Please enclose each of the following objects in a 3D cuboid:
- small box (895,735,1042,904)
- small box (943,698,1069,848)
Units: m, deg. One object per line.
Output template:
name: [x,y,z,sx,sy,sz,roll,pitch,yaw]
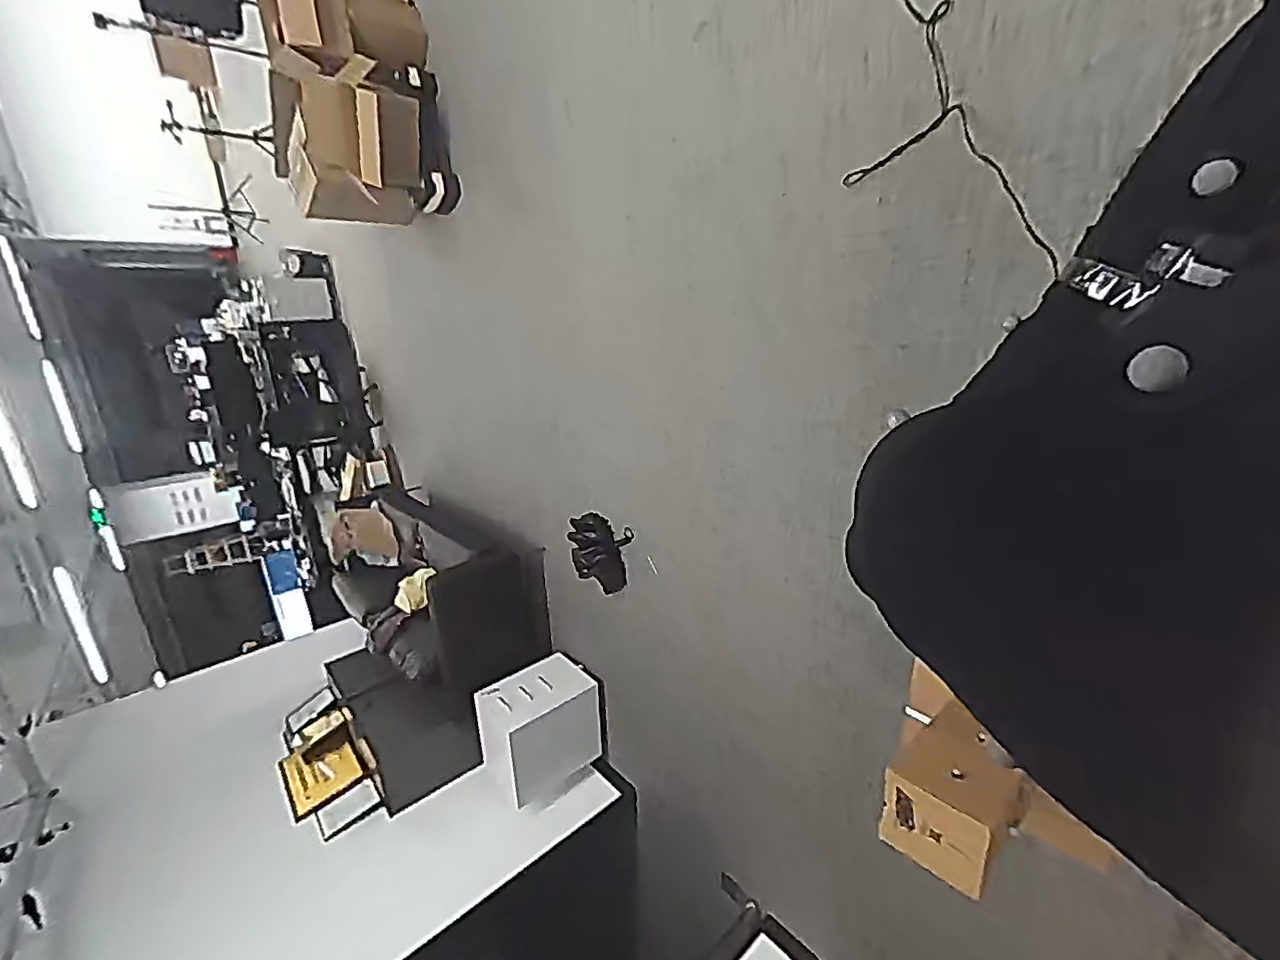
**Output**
small box: [0.604,0.607,0.999,0.179,0.176,0.168,16,114,48]
small box: [0.734,0.577,1.096,0.179,0.176,0.168,17,115,50]
